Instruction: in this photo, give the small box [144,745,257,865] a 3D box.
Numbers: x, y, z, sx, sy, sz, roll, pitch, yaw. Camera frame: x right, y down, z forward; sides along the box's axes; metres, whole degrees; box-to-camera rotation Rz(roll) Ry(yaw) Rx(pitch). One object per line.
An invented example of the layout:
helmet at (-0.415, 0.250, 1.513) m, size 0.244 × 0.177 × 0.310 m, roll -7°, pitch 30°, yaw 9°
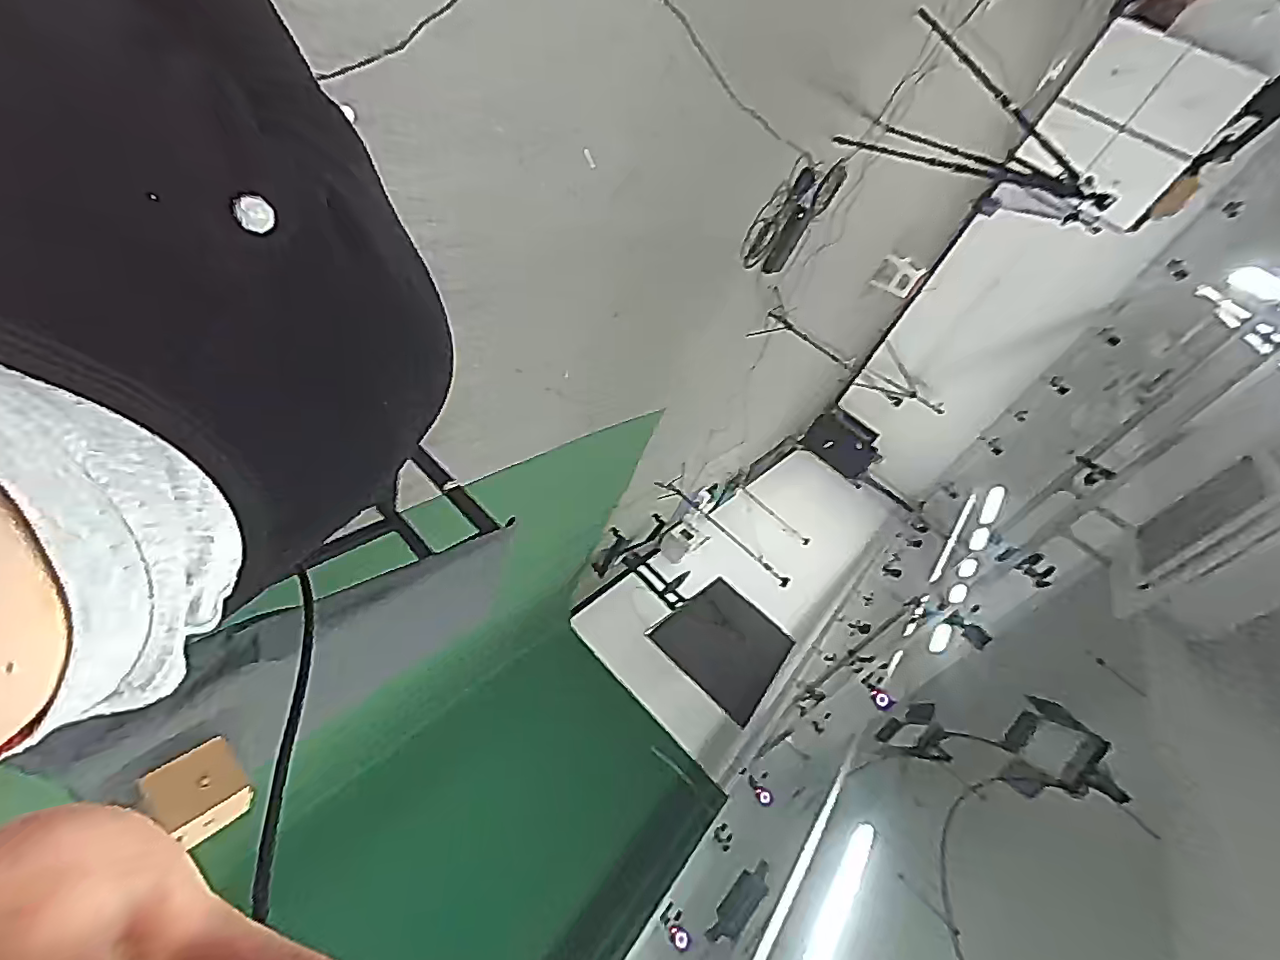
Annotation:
small box at (-1.127, 0.828, 1.394) m, size 0.179 × 0.176 × 0.168 m, roll -27°, pitch 151°, yaw -51°
